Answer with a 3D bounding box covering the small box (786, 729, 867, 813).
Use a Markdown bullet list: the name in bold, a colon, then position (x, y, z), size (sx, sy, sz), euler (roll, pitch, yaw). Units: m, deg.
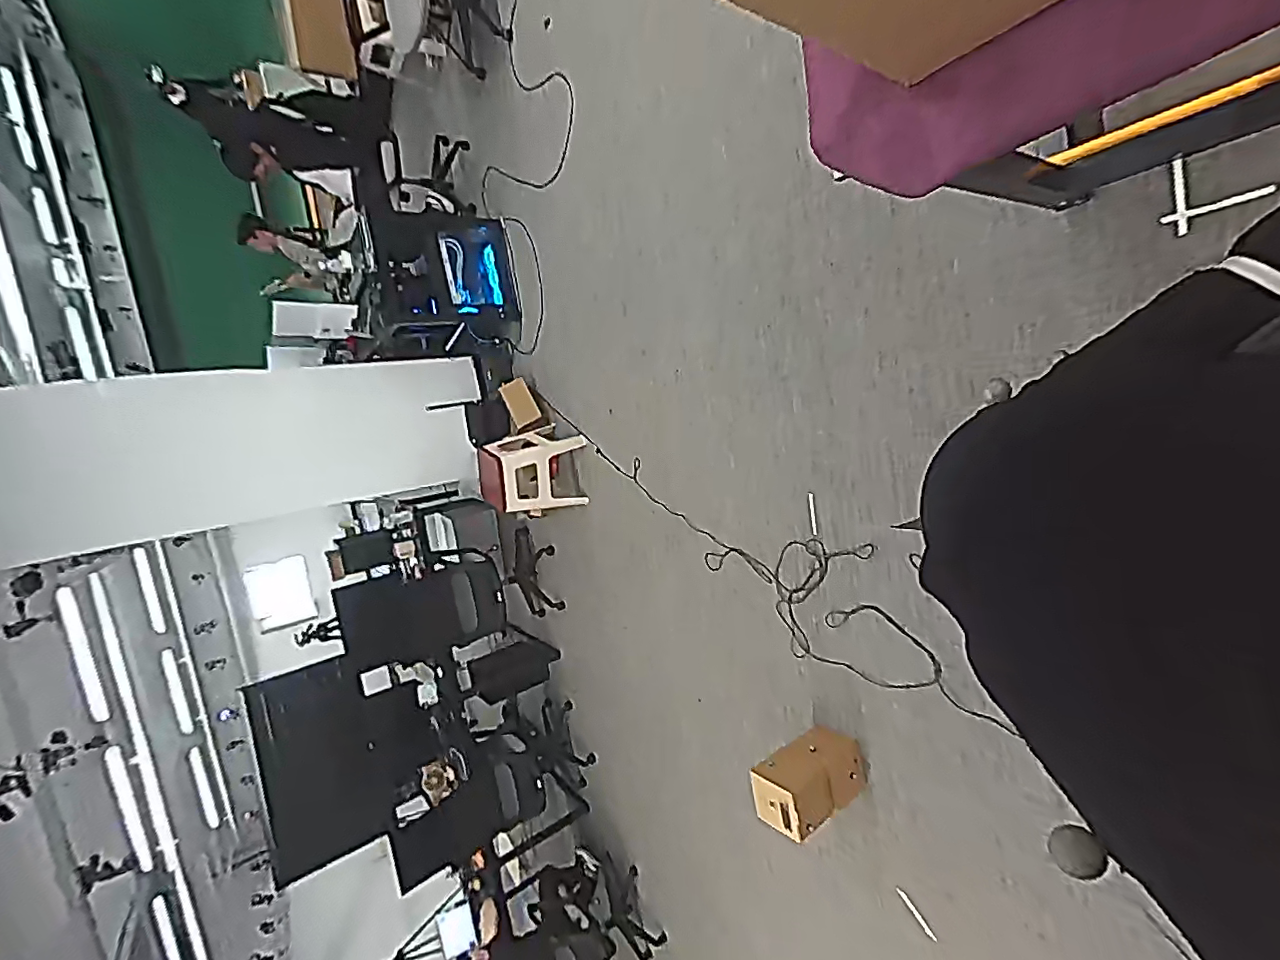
- **small box**: position (0.623, 0.962, 1.807), size (0.179, 0.176, 0.168), euler (-11, 92, 56)
